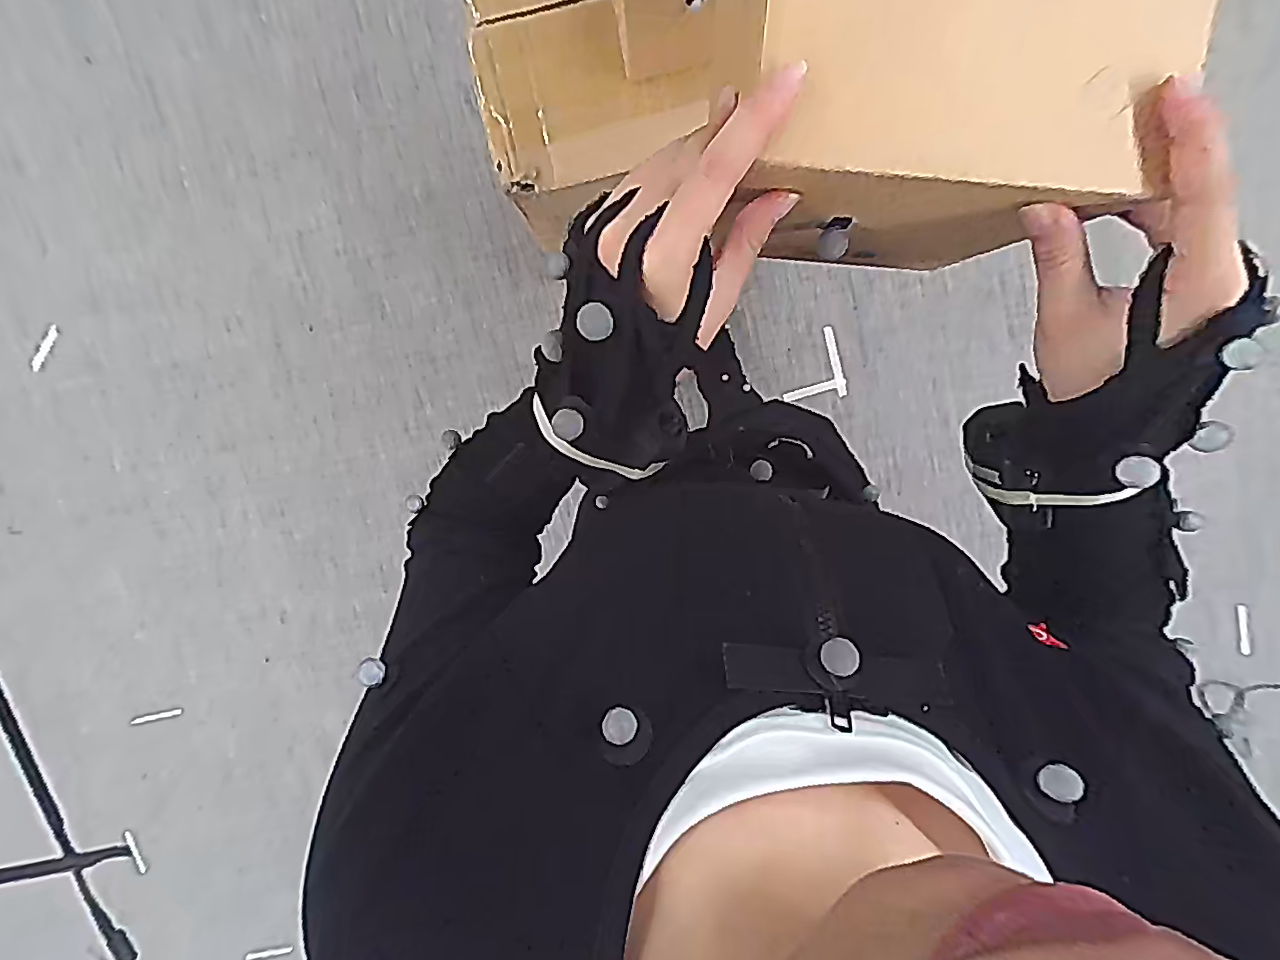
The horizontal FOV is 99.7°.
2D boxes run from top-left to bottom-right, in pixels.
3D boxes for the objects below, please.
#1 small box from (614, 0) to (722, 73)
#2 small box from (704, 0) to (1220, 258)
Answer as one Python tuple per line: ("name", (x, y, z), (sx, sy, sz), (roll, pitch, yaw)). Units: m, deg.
("small box", (0.051, -0.582, 0.578), (0.179, 0.176, 0.168), (-13, 99, 2))
("small box", (0.126, -0.219, 0.265), (0.168, 0.176, 0.179), (4, 100, -1))
